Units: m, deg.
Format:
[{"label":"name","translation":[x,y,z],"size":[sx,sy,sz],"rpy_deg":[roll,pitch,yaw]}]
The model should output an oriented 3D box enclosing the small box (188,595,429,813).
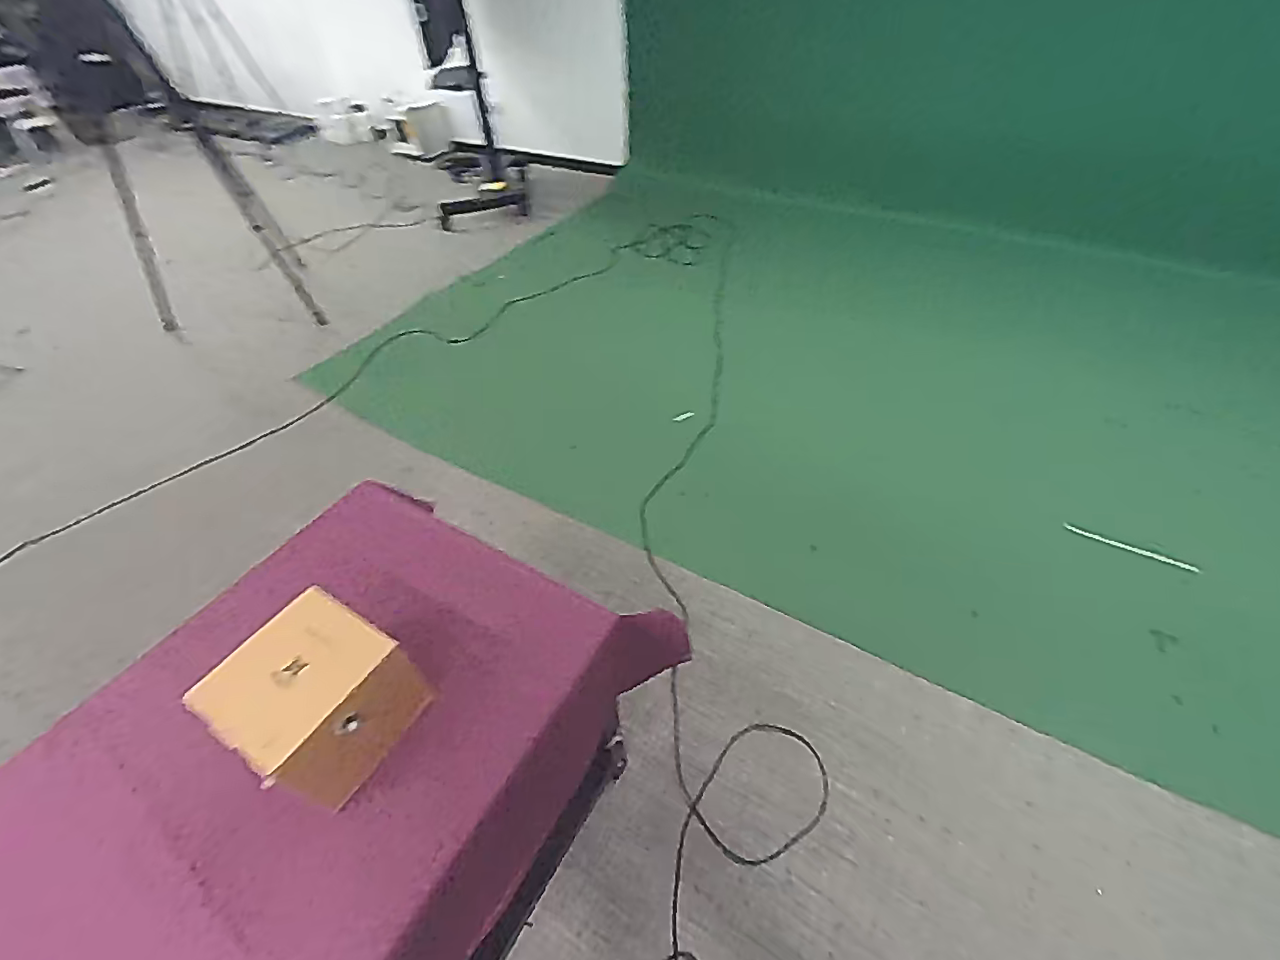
[{"label":"small box","translation":[-0.408,0.290,0.699],"size":[0.168,0.176,0.179],"rpy_deg":[23,51,22]}]
